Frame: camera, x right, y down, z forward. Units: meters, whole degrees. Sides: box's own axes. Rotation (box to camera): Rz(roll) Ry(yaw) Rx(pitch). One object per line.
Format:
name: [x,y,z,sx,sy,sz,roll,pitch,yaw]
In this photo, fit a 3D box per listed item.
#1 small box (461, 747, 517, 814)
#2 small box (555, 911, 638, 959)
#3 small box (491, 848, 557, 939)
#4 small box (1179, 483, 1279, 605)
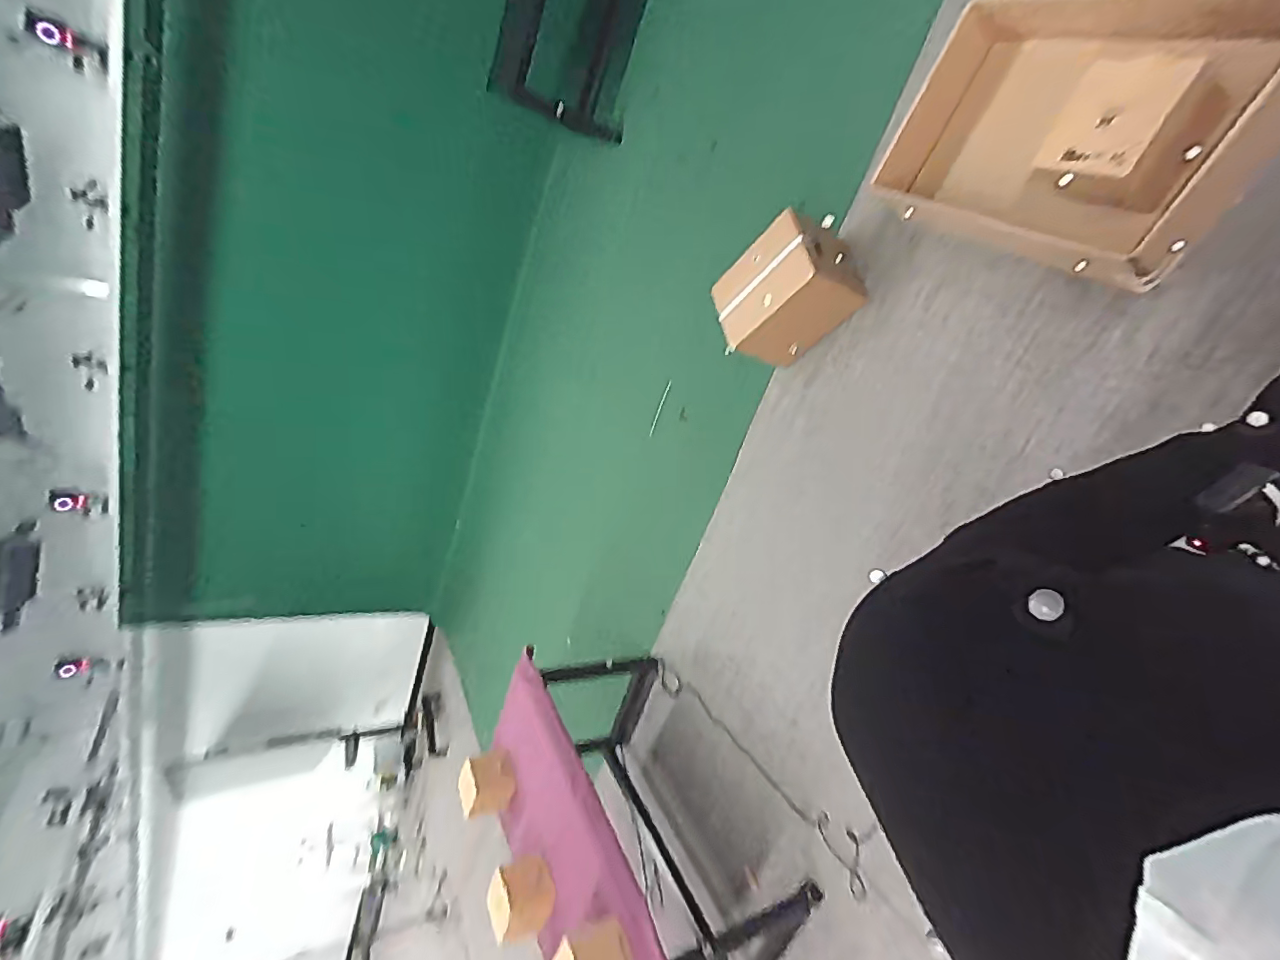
small box: [-0.629,1.249,2.254,0.168,0.176,0.179,50,125,44]
small box: [-0.113,1.359,1.508,0.168,0.176,0.179,48,125,47]
small box: [-0.410,1.463,1.921,0.168,0.176,0.179,38,115,50]
small box: [1.231,0.126,1.070,0.168,0.176,0.179,-46,42,39]
